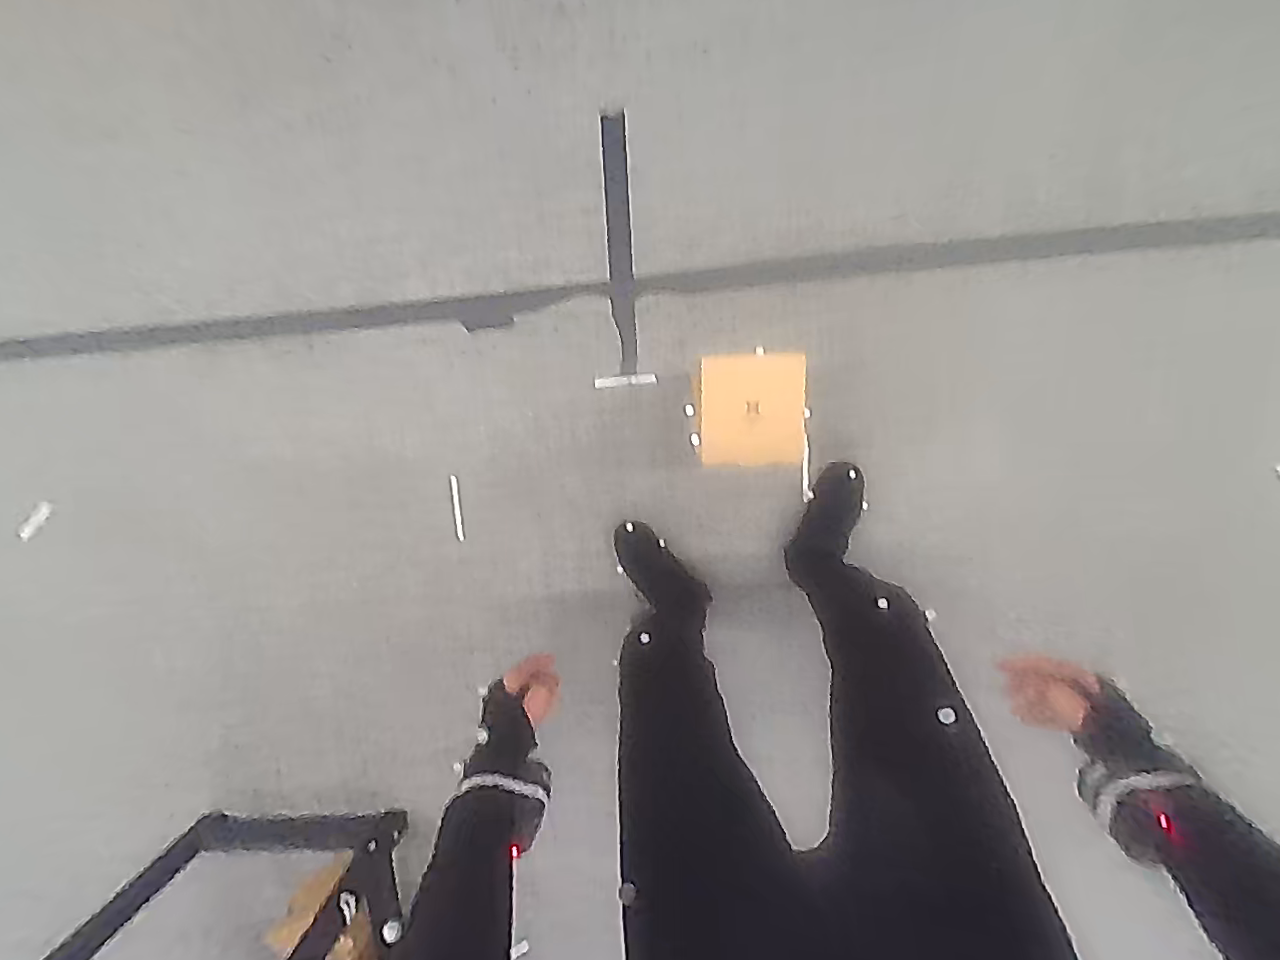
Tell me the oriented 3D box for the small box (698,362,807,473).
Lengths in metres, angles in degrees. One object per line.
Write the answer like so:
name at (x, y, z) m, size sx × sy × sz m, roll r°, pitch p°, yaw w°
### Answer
small box at (0.188, -0.111, 0.943) m, size 0.168 × 0.176 × 0.179 m, roll -2°, pitch 101°, yaw 4°

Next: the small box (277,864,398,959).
small box at (-0.774, 1.156, 1.403) m, size 0.179 × 0.176 × 0.168 m, roll -33°, pitch 96°, yaw 9°
